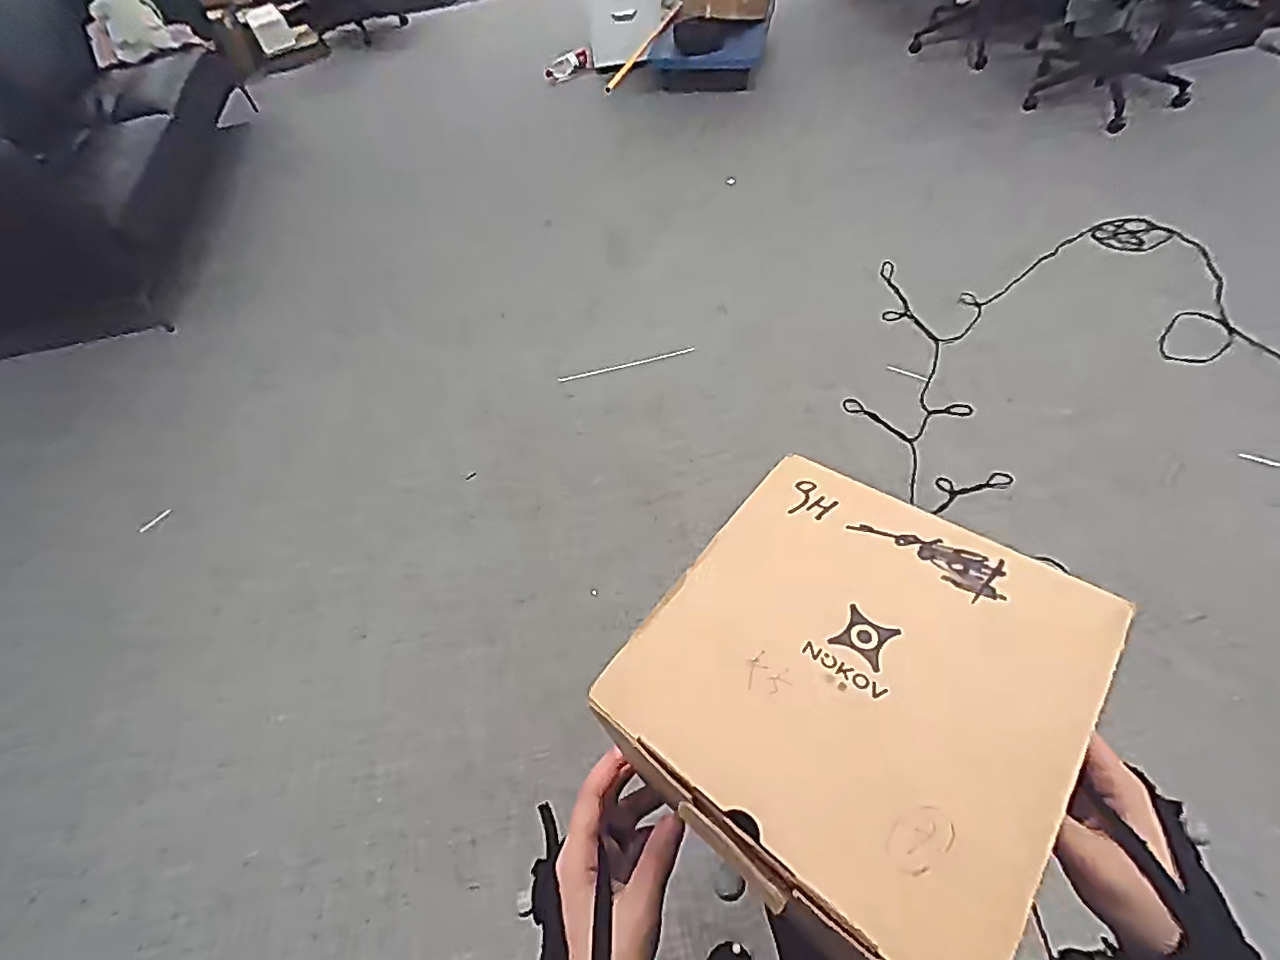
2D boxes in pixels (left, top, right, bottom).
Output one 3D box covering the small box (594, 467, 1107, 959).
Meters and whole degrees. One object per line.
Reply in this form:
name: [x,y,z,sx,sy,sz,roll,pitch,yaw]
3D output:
small box: [0.105,0.132,0.306,0.168,0.176,0.179,29,61,31]
